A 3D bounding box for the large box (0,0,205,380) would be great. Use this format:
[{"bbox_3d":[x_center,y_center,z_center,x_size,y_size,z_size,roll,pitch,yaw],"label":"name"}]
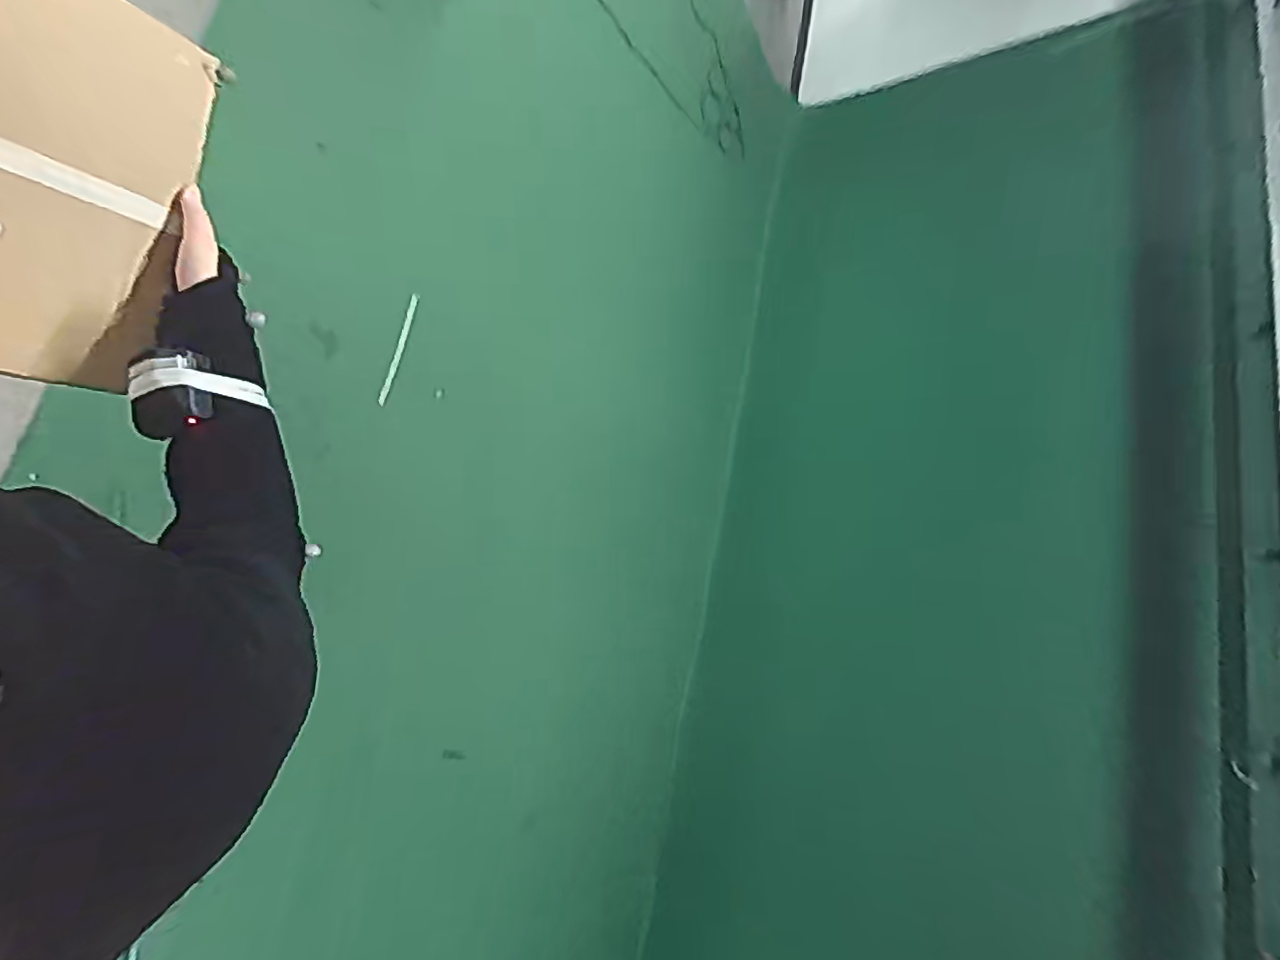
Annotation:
[{"bbox_3d":[-0.642,-0.274,0.396,0.408,0.320,0.320,9,92,-58],"label":"large box"}]
